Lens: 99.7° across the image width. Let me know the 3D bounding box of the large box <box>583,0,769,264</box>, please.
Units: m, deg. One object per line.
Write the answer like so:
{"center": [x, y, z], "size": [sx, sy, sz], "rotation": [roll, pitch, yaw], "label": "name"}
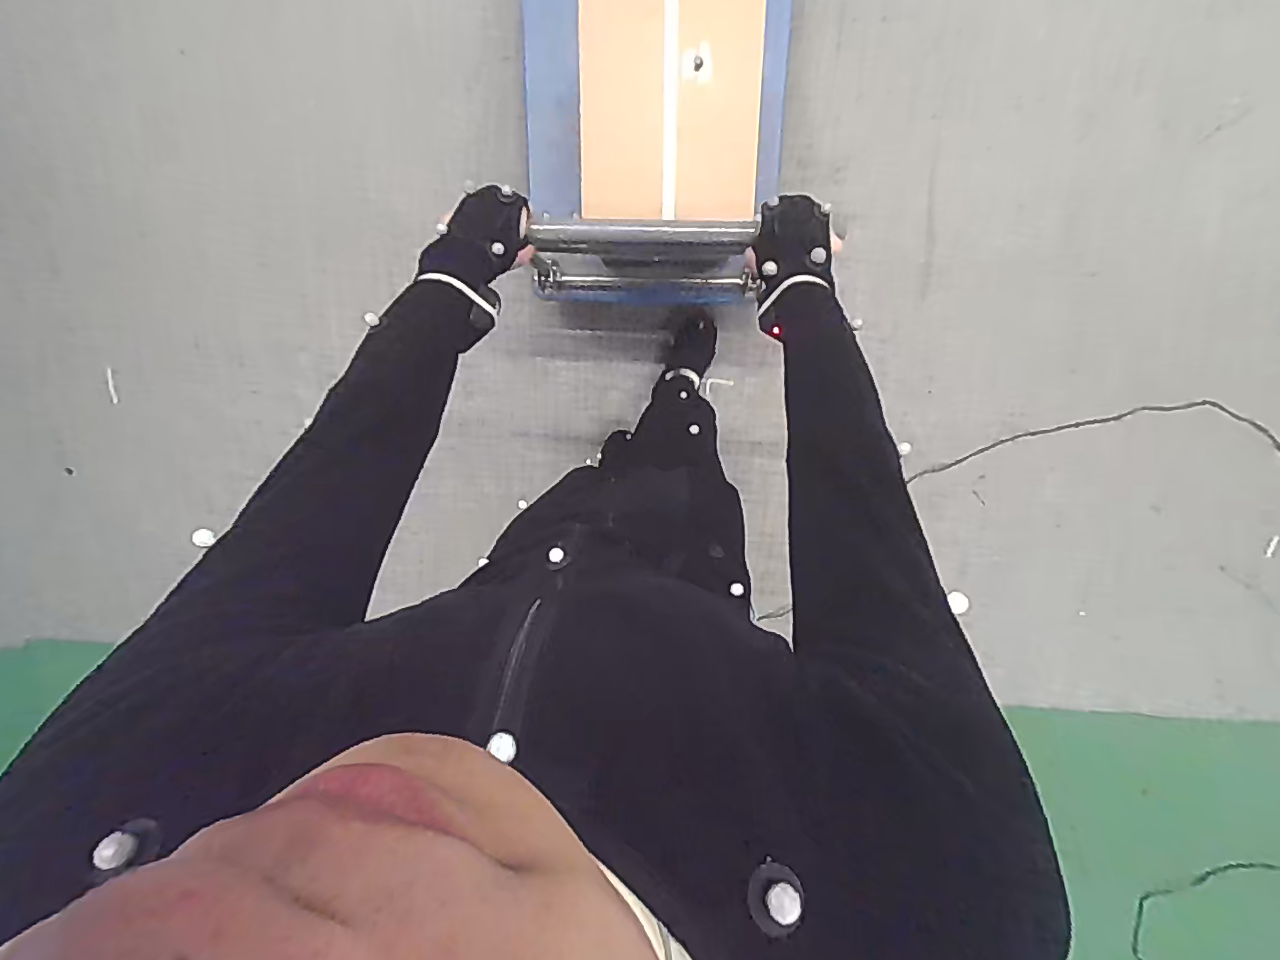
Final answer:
{"center": [0.066, -0.665, 1.072], "size": [0.320, 0.320, 0.408], "rotation": [1, 104, 1], "label": "large box"}
